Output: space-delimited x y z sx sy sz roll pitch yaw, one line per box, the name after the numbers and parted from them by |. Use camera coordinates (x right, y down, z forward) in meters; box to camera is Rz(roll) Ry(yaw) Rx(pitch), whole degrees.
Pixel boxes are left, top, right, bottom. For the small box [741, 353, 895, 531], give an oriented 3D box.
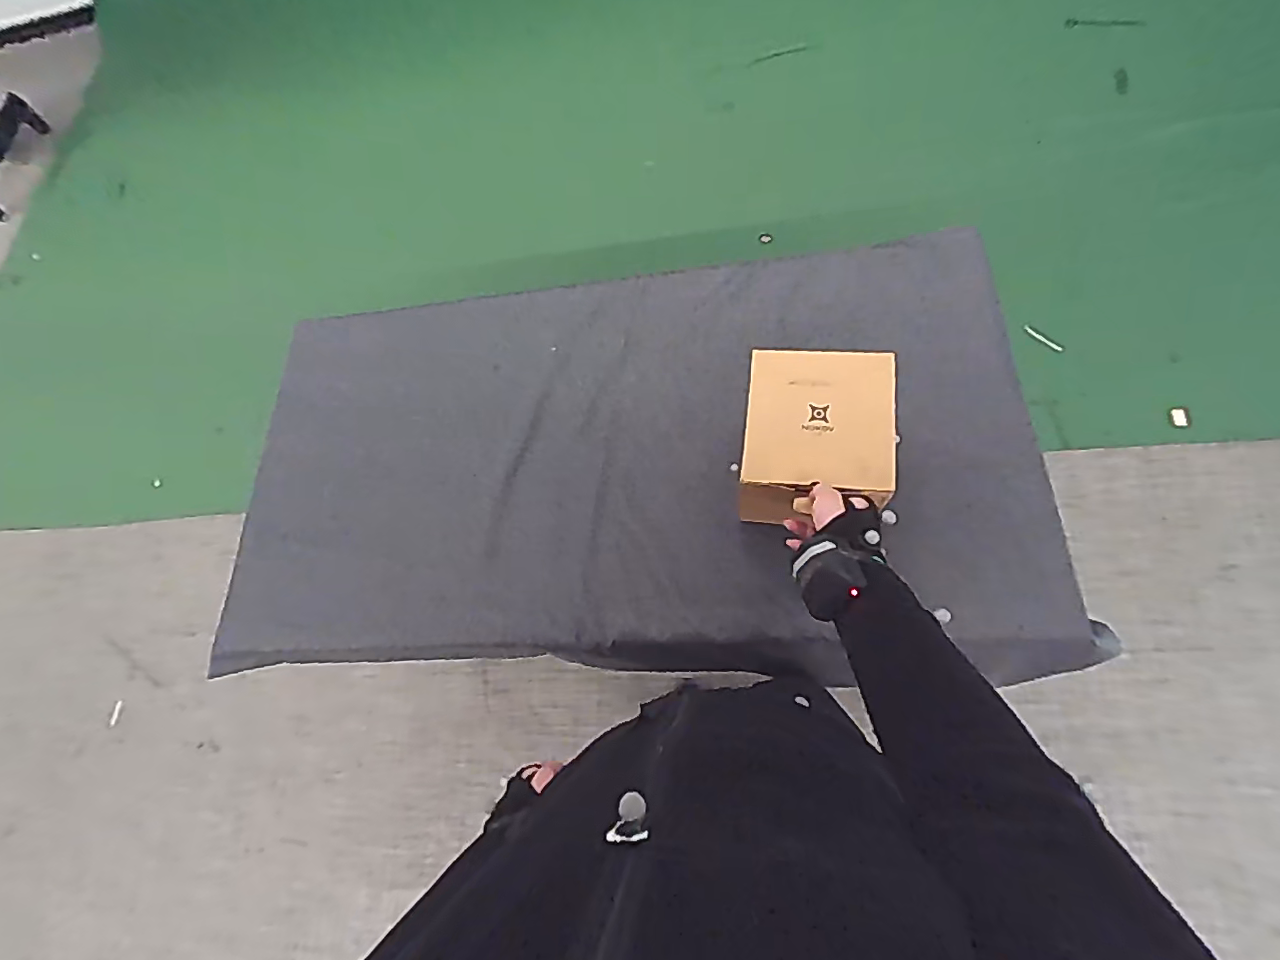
0.220 -0.042 0.697 0.168 0.176 0.179 5 70 11 | small box
